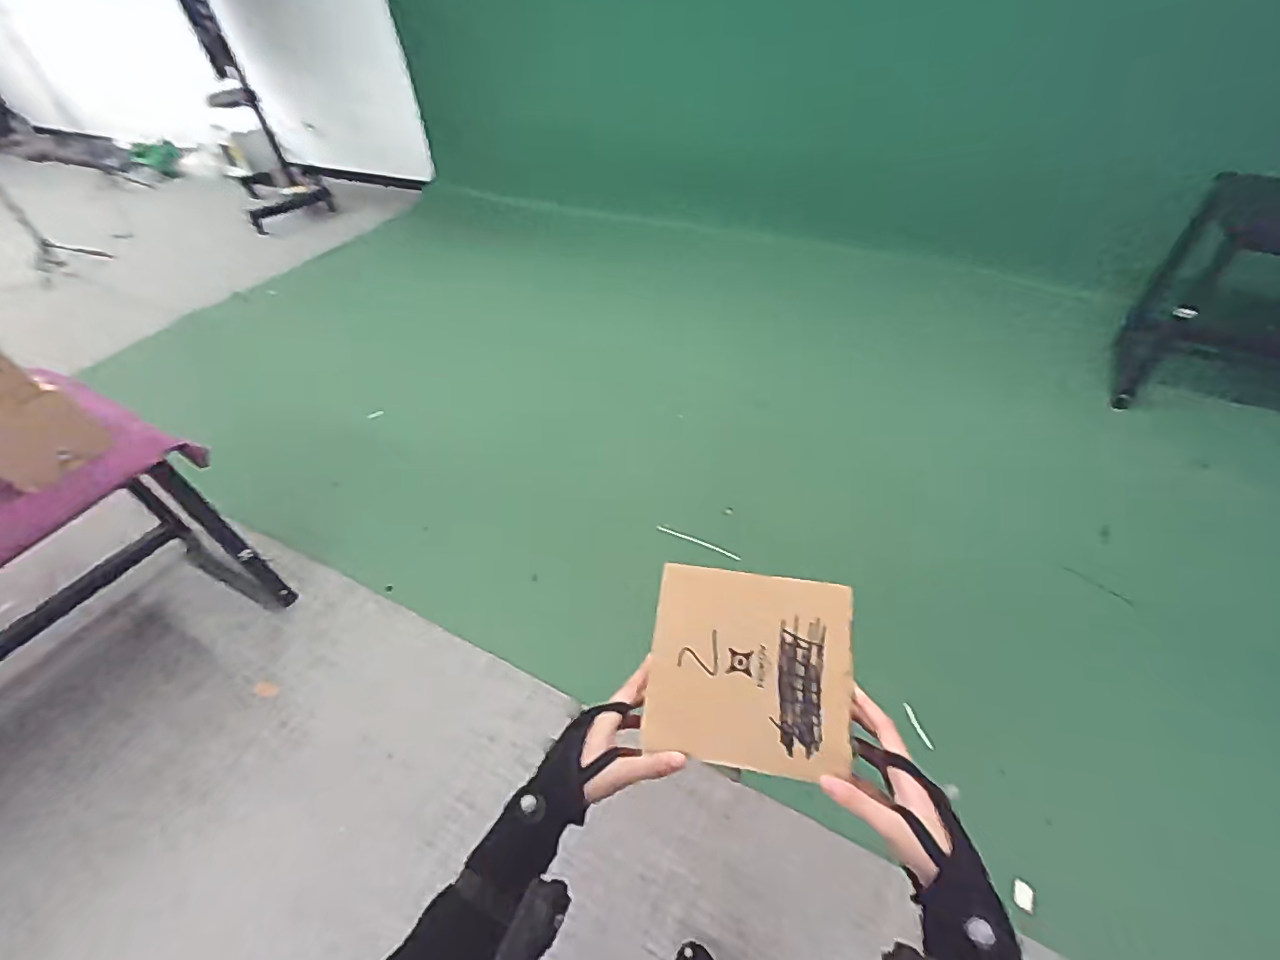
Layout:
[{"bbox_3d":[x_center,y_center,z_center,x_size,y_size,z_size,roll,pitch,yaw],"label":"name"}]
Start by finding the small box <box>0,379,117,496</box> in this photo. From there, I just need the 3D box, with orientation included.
[{"bbox_3d":[-1.308,-0.097,1.176,0.168,0.176,0.179,17,50,20],"label":"small box"}]

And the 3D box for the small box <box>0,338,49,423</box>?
[{"bbox_3d":[-1.330,-0.205,1.054,0.168,0.176,0.179,21,52,23],"label":"small box"}]
